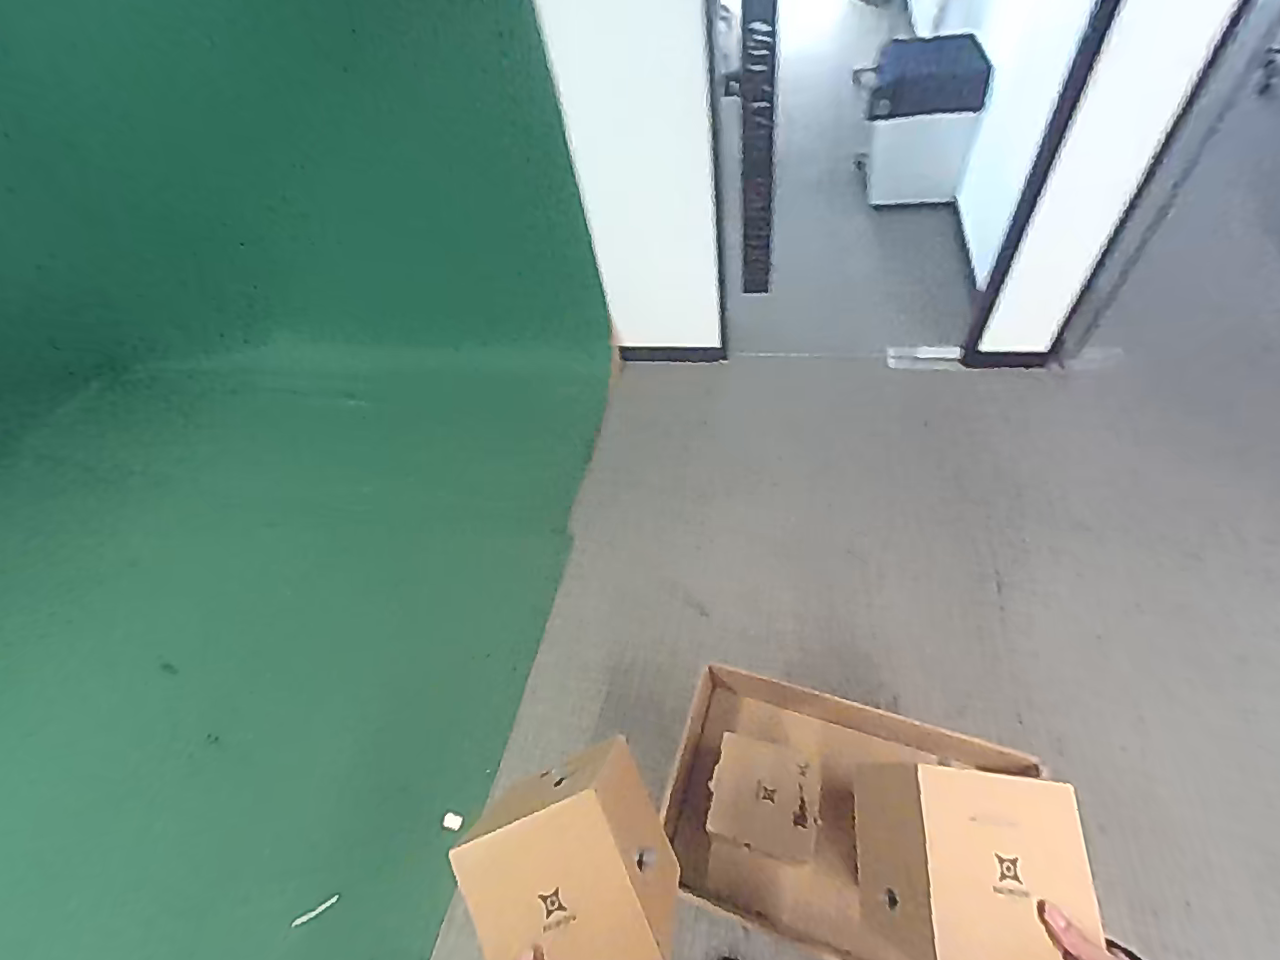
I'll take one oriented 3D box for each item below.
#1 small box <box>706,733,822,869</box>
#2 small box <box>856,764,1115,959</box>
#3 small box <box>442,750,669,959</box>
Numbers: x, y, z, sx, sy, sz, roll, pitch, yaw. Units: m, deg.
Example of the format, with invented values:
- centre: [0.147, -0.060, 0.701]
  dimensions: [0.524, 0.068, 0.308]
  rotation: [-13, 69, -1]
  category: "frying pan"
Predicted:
- centre: [0.229, 0.593, 0.995]
  dimensions: [0.179, 0.176, 0.168]
  rotation: [8, 54, 18]
  category: "small box"
- centre: [0.348, 0.414, 0.580]
  dimensions: [0.168, 0.176, 0.179]
  rotation: [8, 62, 0]
  category: "small box"
- centre: [-0.078, 0.420, 0.584]
  dimensions: [0.168, 0.176, 0.179]
  rotation: [-26, 81, 2]
  category: "small box"
